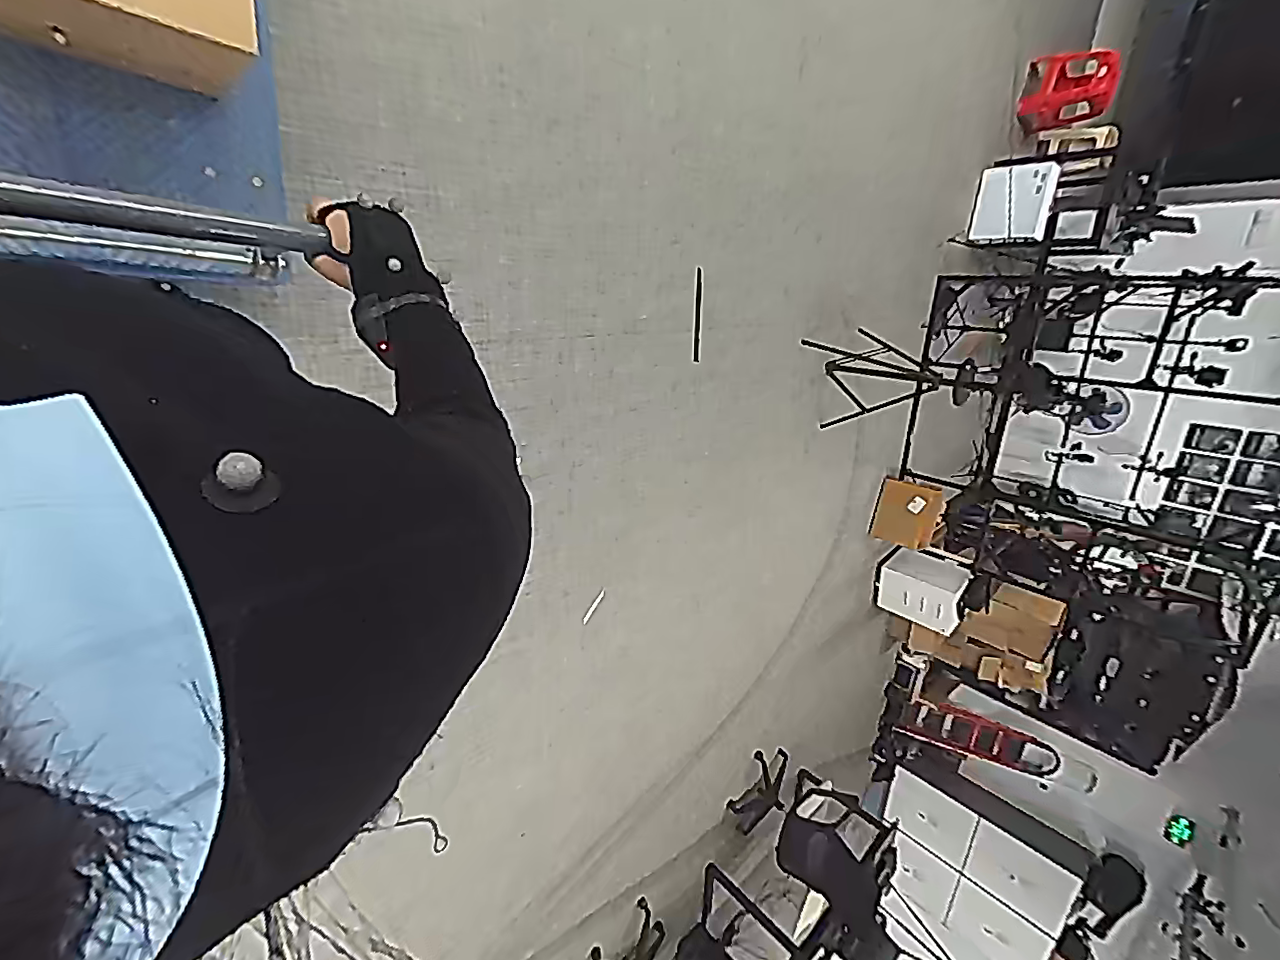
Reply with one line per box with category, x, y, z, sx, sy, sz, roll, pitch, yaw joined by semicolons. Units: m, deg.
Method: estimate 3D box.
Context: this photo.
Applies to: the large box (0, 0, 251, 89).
large box;-0.775;-0.760;0.682;0.408;0.320;0.320;-10;112;-42
